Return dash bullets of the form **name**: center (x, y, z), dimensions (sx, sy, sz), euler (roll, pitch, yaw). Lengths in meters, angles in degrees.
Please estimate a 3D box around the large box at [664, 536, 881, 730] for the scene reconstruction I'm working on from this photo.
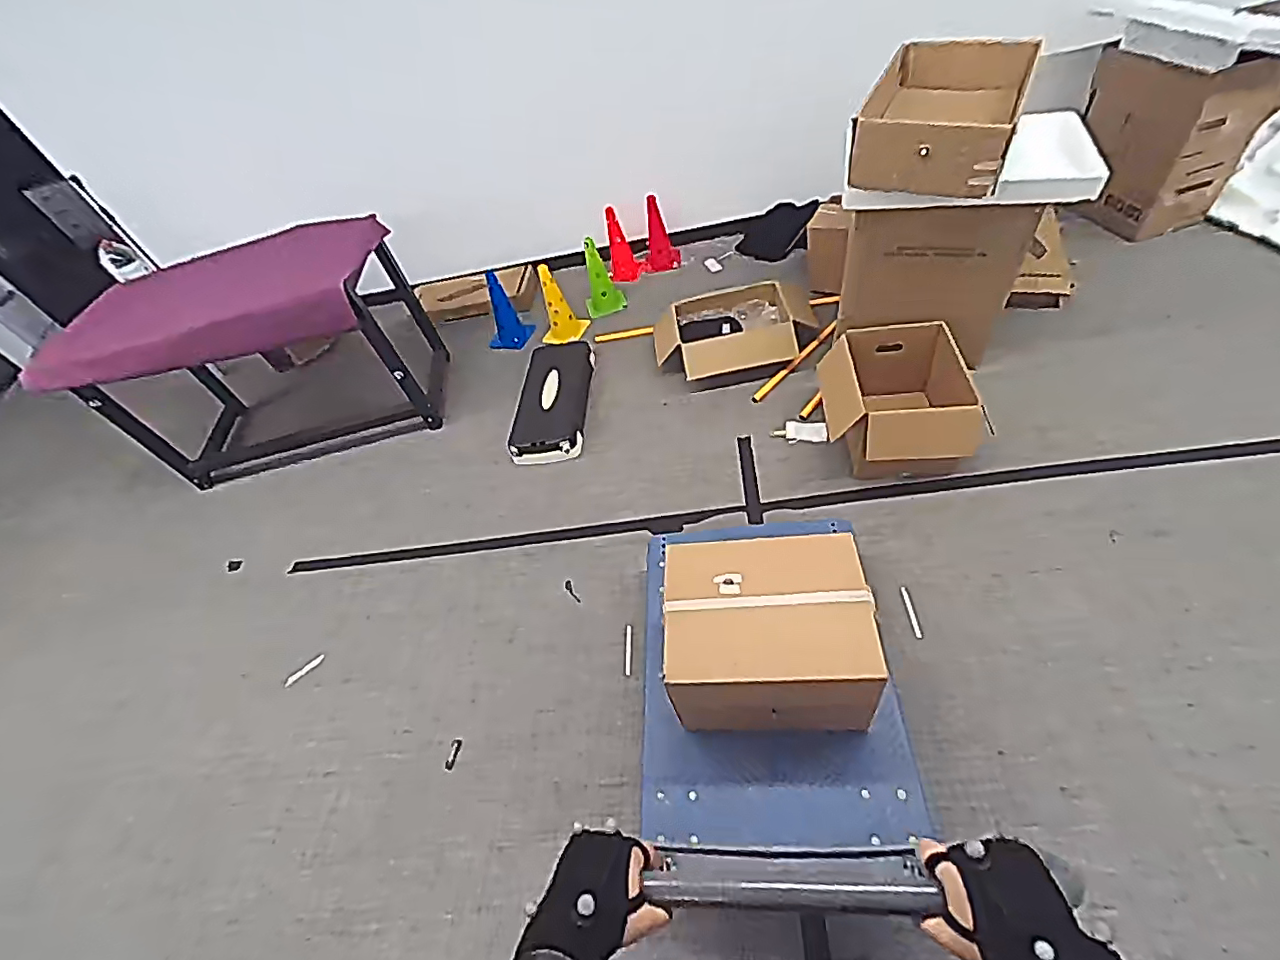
- **large box**: center (0.277, 0.353, 1.209), dimensions (0.408, 0.320, 0.320), euler (-6, 48, 11)
